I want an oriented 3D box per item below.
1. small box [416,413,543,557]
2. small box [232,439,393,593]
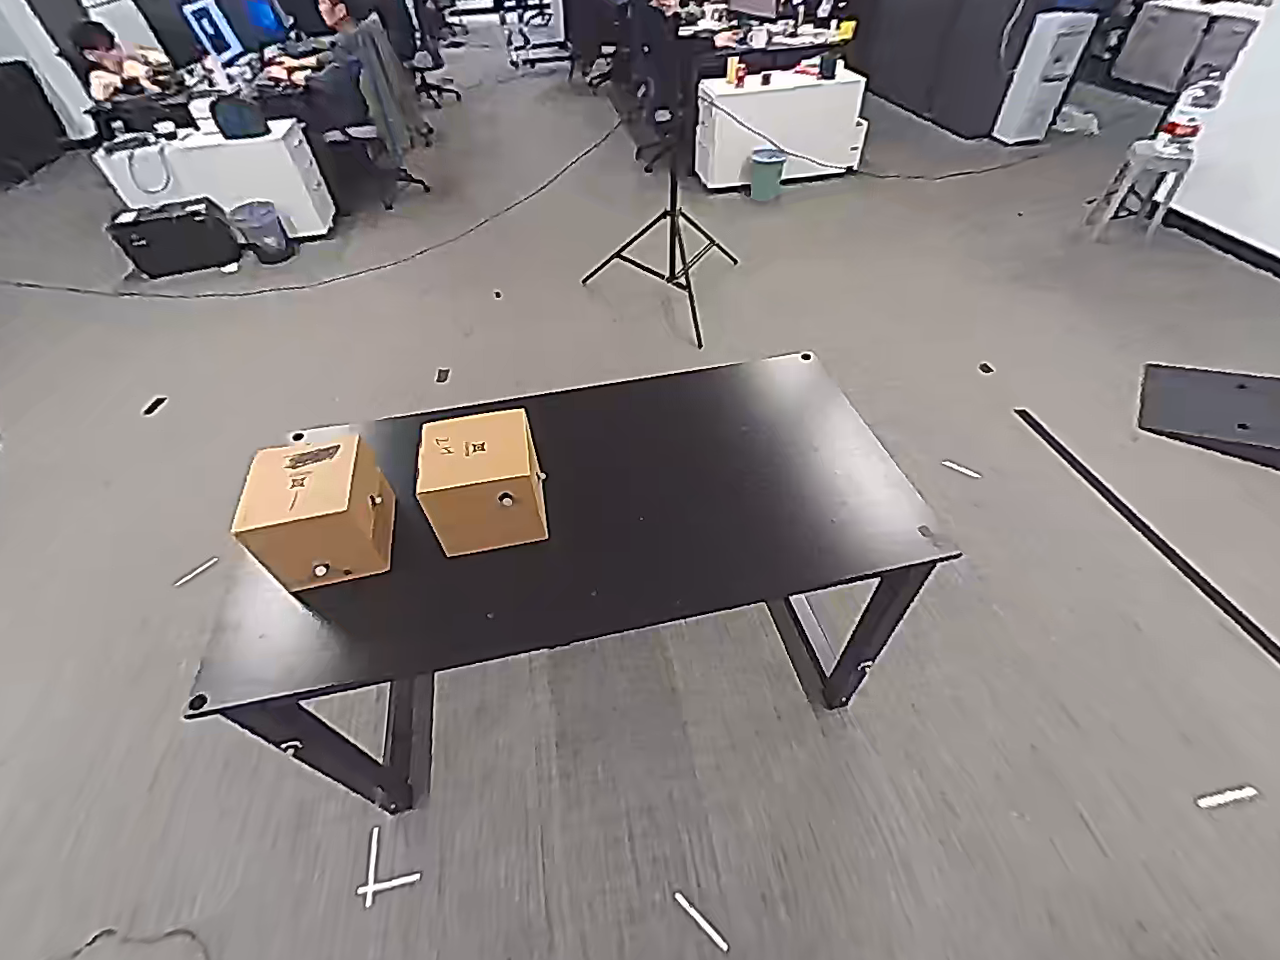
[{"bbox_3d":[-0.268,0.011,0.938,0.179,0.176,0.168,-10,47,-6],"label":"small box"},{"bbox_3d":[-0.529,0.060,0.906,0.168,0.176,0.179,-12,49,-8],"label":"small box"}]
